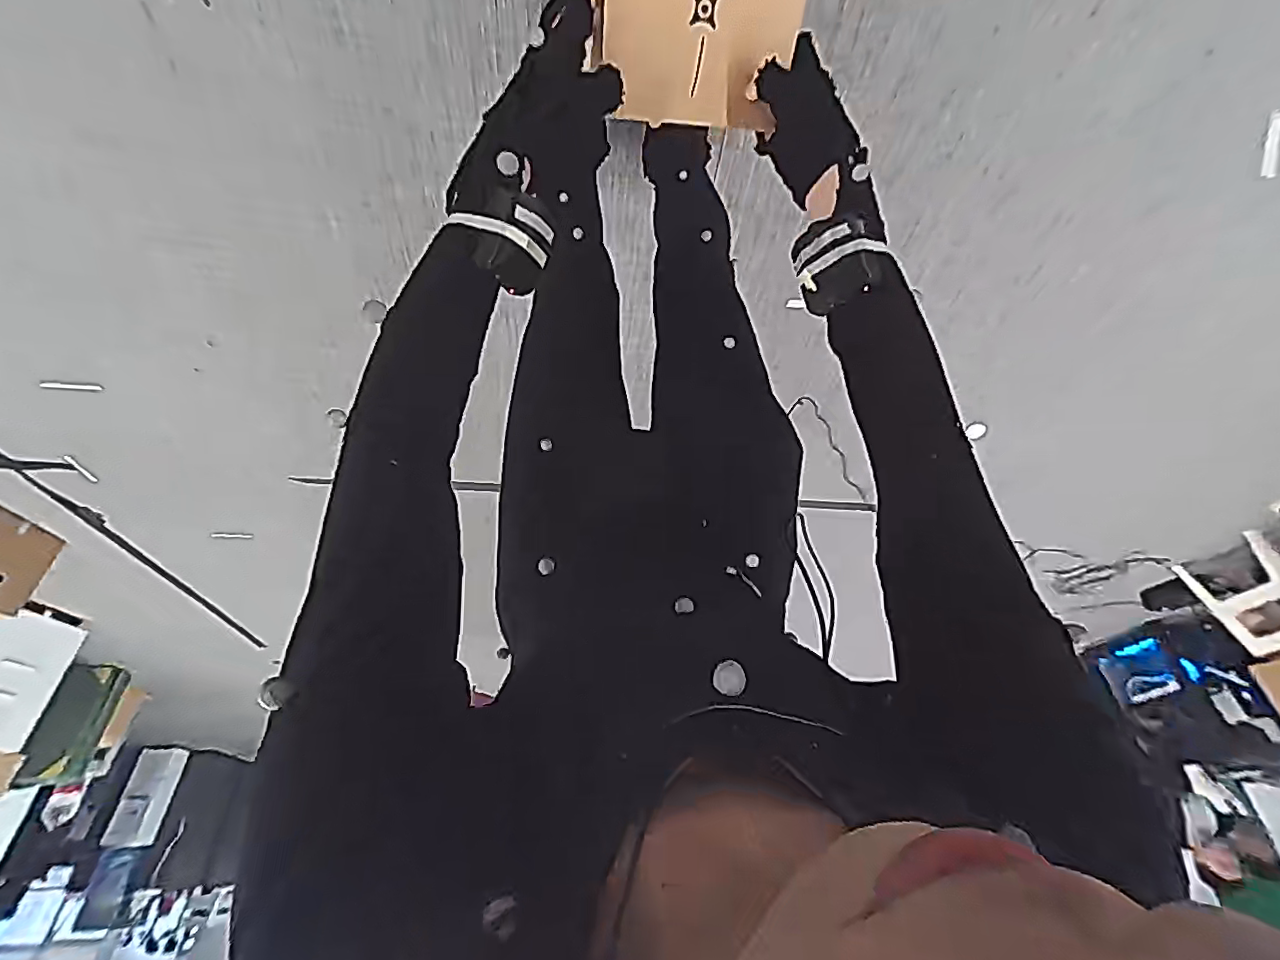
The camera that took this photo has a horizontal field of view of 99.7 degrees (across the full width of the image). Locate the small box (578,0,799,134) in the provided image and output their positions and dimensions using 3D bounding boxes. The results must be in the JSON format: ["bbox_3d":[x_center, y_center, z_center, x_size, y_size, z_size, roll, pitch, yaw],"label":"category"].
[{"bbox_3d":[0.034,-0.435,0.491,0.168,0.176,0.179,-3,131,-12],"label":"small box"}]
